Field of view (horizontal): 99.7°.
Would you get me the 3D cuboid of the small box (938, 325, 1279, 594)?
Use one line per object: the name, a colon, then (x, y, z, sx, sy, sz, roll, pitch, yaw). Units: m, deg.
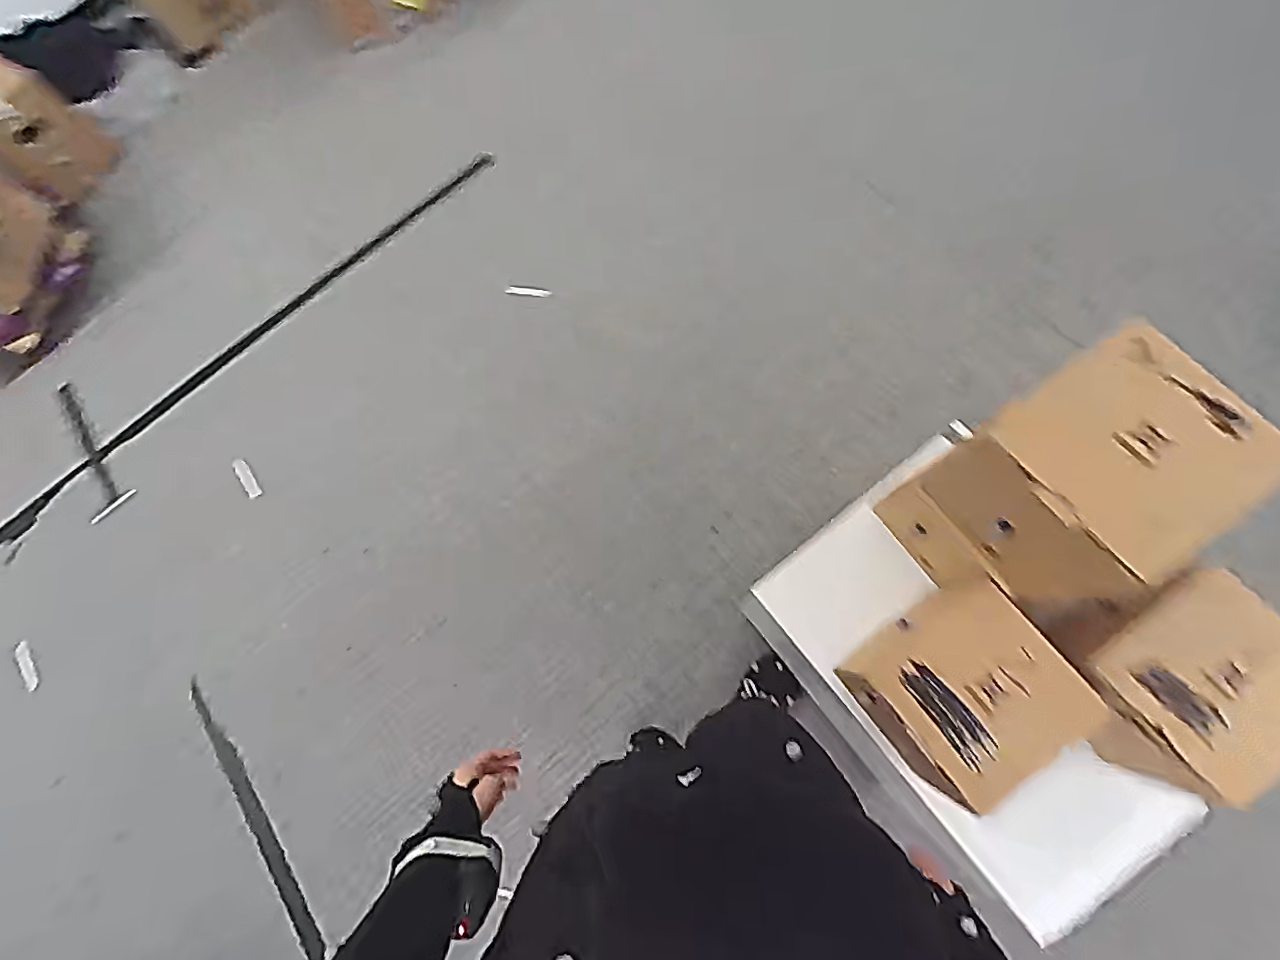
small box: (0.424, -0.005, 0.522, 0.179, 0.176, 0.168, -36, 73, -2)

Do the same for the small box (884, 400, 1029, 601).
small box: (0.437, 0.038, 0.680, 0.179, 0.176, 0.168, -34, 73, -2)
